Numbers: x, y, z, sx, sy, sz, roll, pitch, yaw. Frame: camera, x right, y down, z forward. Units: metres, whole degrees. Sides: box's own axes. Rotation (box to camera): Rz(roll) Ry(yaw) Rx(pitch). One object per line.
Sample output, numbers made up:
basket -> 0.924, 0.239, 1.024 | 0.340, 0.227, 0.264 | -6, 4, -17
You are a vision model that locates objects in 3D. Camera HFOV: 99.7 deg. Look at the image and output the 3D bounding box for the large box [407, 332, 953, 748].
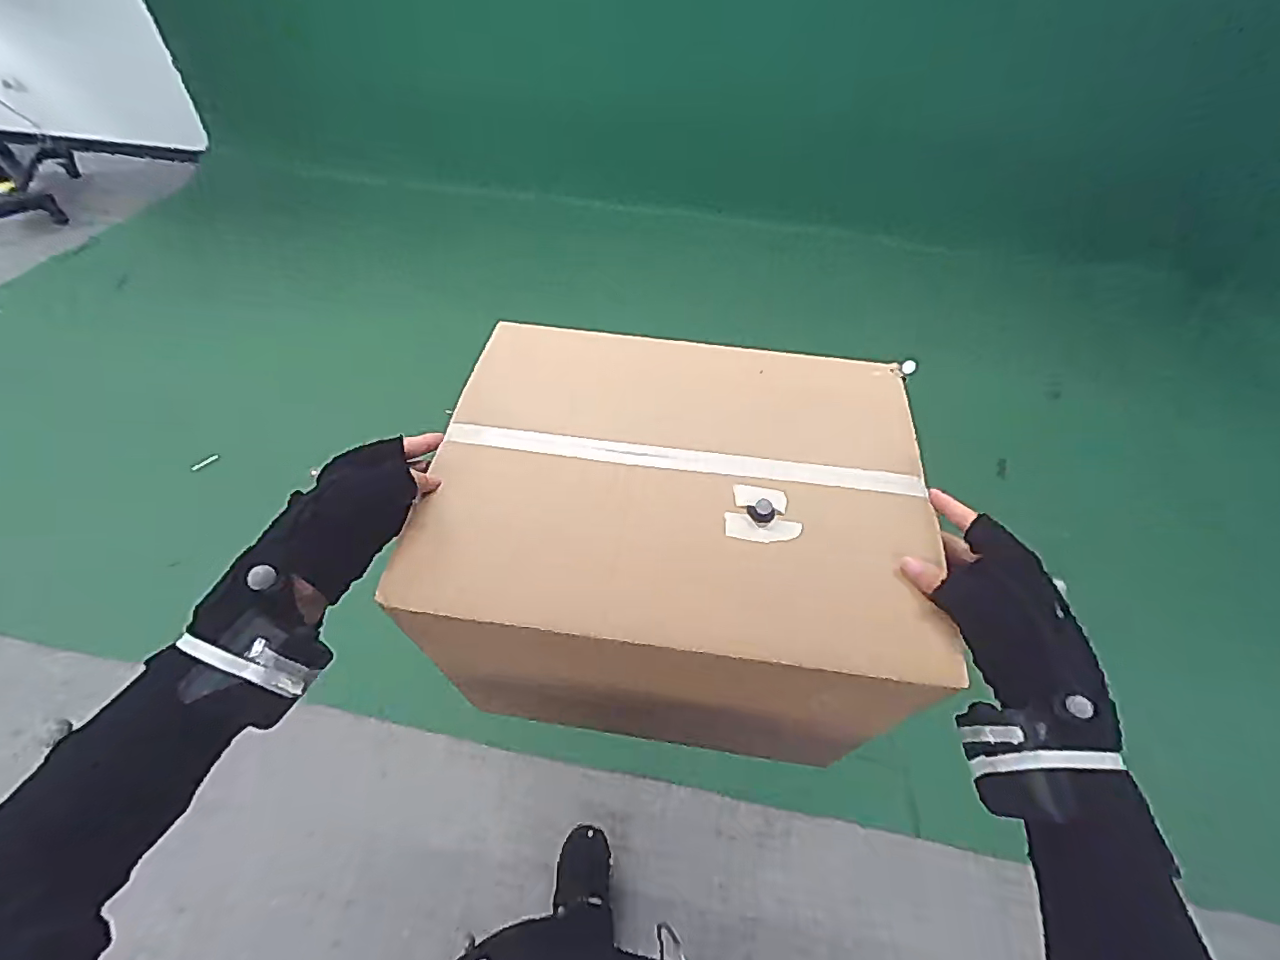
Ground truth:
large box -> 0.035, 0.075, 0.592 | 0.408, 0.320, 0.320 | 8, 55, 3
